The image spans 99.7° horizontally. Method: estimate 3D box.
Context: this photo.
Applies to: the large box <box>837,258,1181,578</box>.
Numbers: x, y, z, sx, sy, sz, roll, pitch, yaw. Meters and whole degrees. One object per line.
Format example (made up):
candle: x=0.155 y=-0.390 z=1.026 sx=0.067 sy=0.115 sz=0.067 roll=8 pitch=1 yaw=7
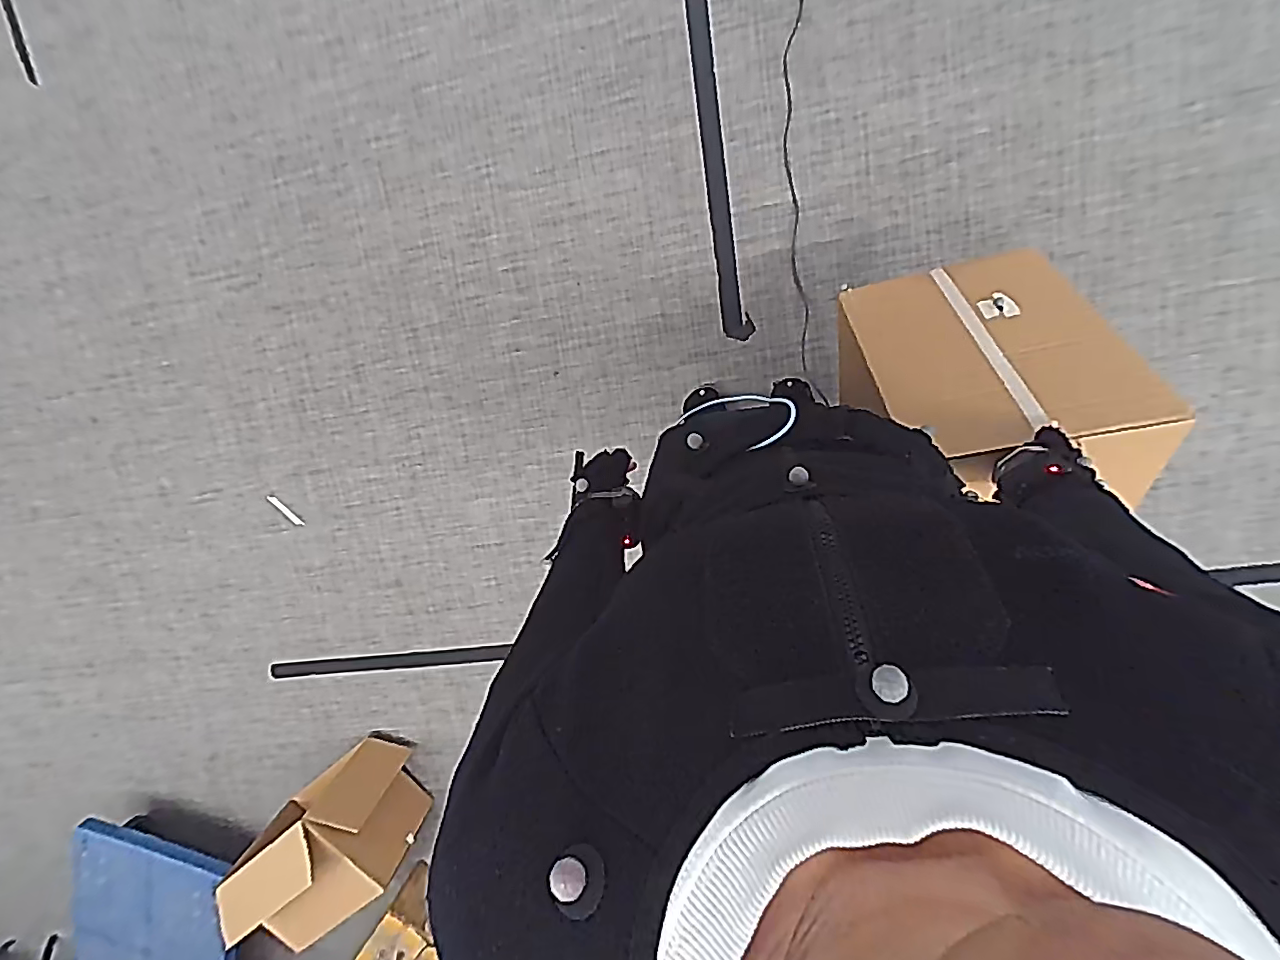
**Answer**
large box: x=0.538 y=-0.100 z=0.908 sx=0.320 sy=0.408 sz=0.320 roll=-10 pitch=138 yaw=10
